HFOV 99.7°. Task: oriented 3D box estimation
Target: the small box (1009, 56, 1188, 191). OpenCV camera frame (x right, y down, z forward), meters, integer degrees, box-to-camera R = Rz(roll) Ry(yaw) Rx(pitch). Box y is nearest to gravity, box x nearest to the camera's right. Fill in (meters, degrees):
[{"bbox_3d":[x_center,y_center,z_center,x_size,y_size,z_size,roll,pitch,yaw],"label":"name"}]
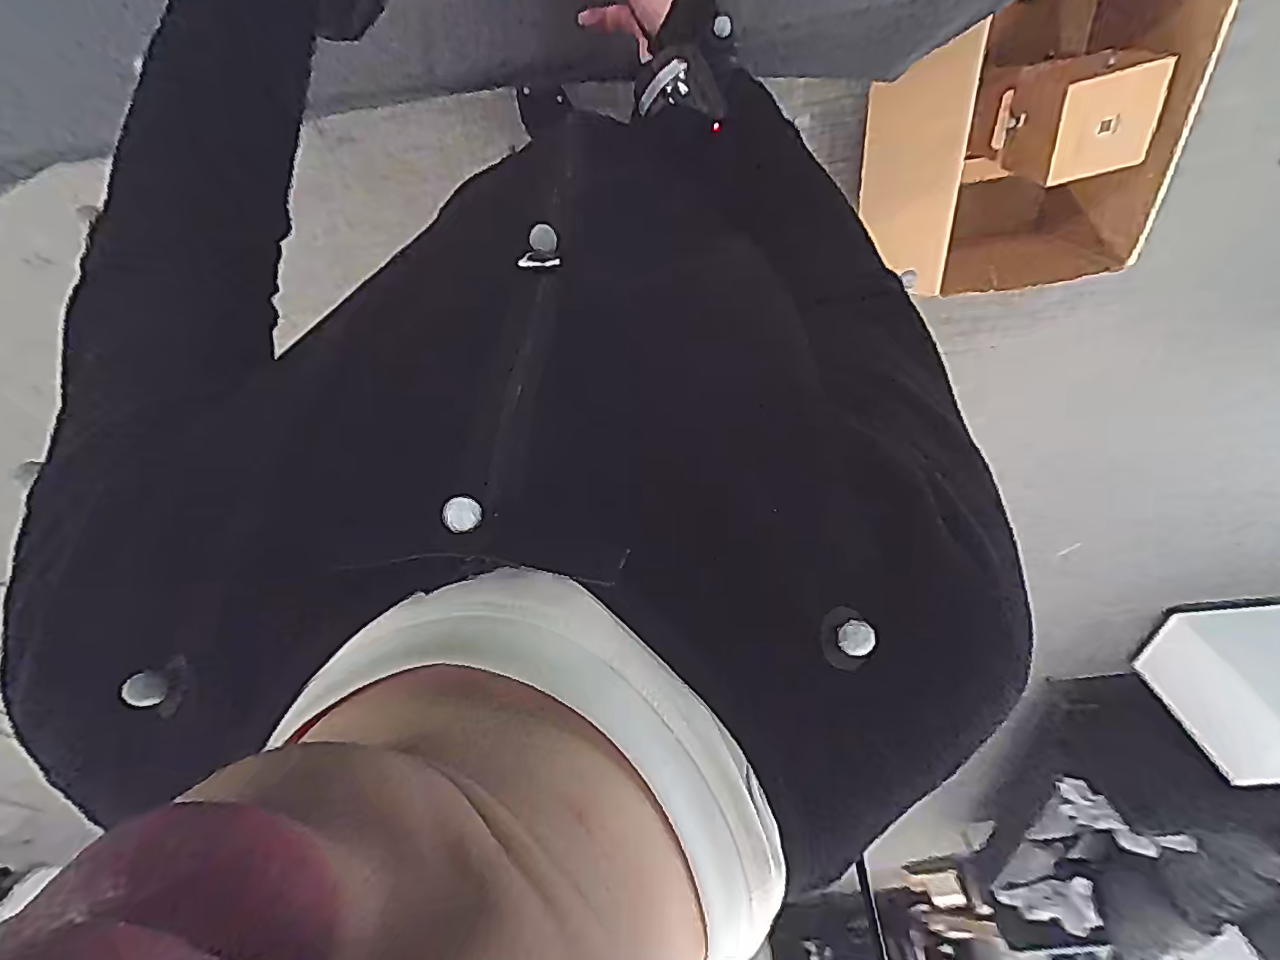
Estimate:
[{"bbox_3d":[0.843,-0.673,1.017,0.179,0.176,0.168,-12,130,9],"label":"small box"}]
